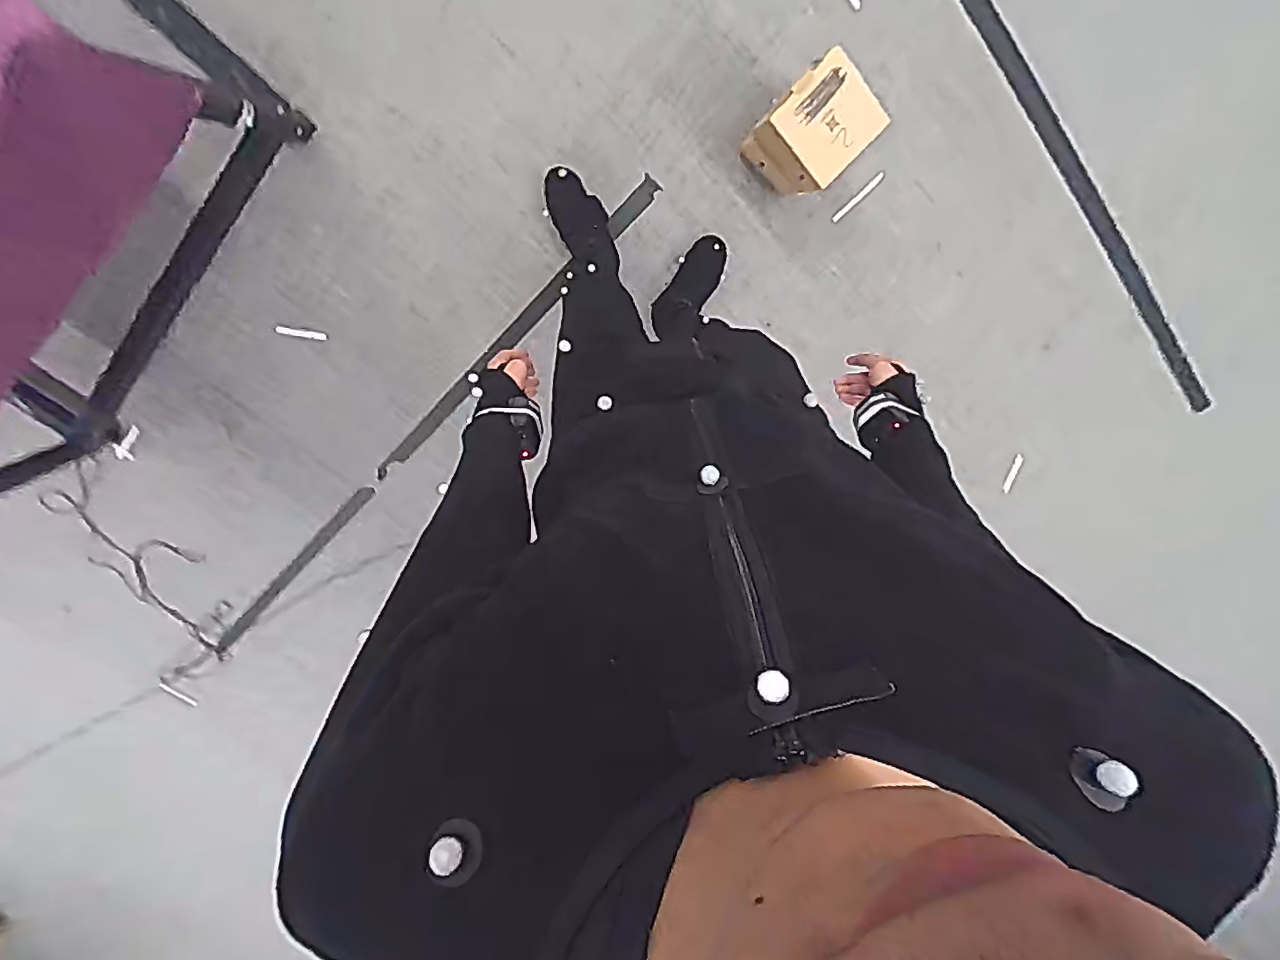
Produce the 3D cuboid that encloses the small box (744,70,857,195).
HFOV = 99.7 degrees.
[{"bbox_3d":[0.359,-0.789,1.254,0.168,0.176,0.179,38,109,-17],"label":"small box"}]
